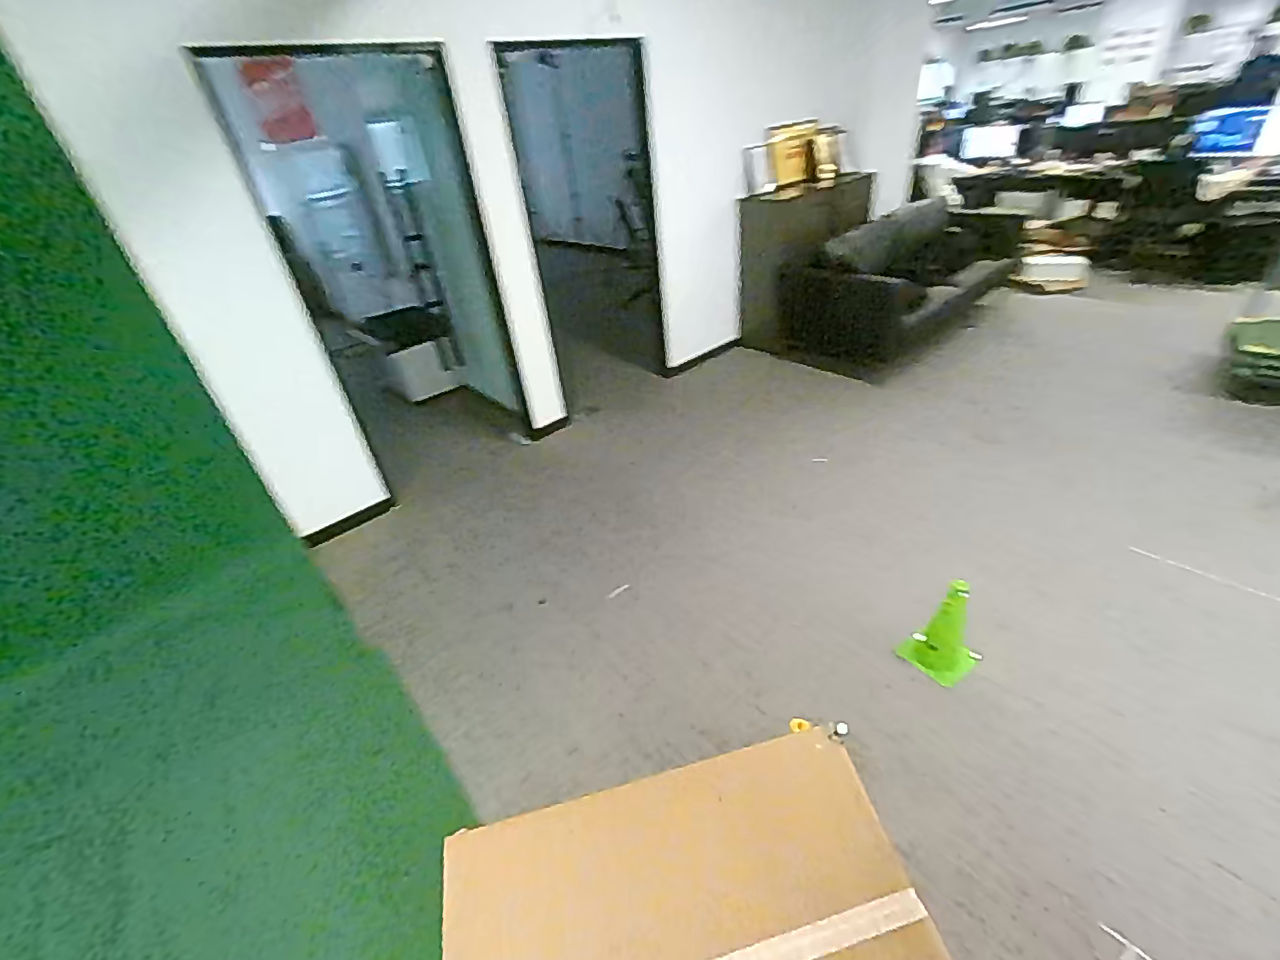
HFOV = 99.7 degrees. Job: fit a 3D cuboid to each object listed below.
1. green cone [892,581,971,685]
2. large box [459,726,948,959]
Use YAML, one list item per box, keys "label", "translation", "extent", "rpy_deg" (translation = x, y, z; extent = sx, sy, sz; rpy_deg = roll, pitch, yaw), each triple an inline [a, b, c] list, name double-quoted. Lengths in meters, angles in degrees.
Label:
- label: "green cone"
  translation: [1.012, 0.475, 1.824]
  extent: [0.202, 0.368, 0.200]
  rpy_deg: [-27, 38, -25]
- label: "large box"
  translation: [0.059, 0.514, 0.554]
  extent: [0.408, 0.320, 0.320]
  rpy_deg: [-12, 47, -8]
